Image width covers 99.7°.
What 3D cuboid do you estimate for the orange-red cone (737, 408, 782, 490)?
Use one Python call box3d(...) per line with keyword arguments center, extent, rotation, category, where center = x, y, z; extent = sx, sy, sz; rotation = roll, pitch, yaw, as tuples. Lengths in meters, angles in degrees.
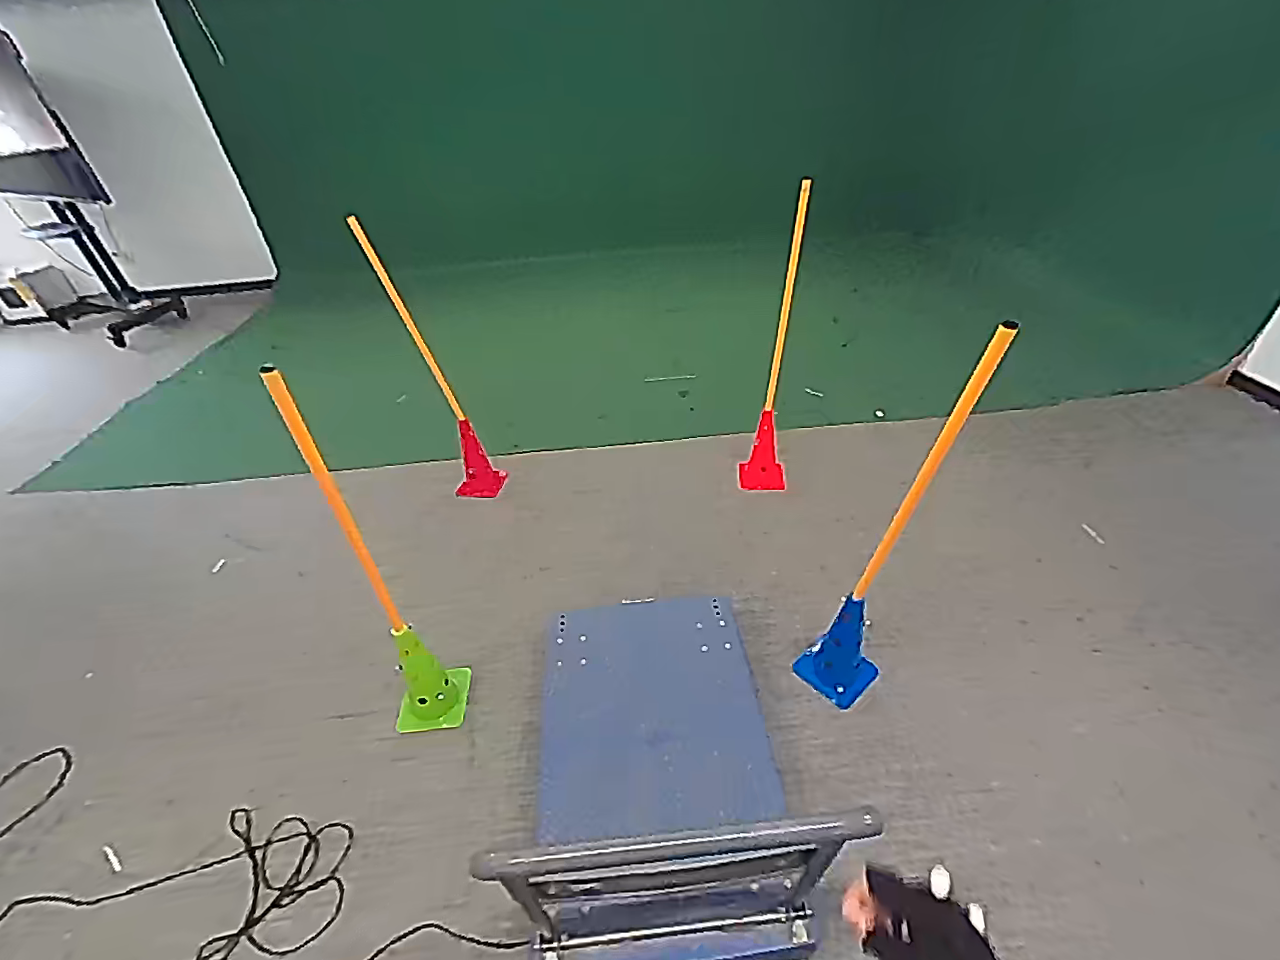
box3d(center=(0.530, -0.149, 2.348), extent=(0.198, 0.360, 0.199), rotation=(1, 39, 8), category="orange-red cone")
